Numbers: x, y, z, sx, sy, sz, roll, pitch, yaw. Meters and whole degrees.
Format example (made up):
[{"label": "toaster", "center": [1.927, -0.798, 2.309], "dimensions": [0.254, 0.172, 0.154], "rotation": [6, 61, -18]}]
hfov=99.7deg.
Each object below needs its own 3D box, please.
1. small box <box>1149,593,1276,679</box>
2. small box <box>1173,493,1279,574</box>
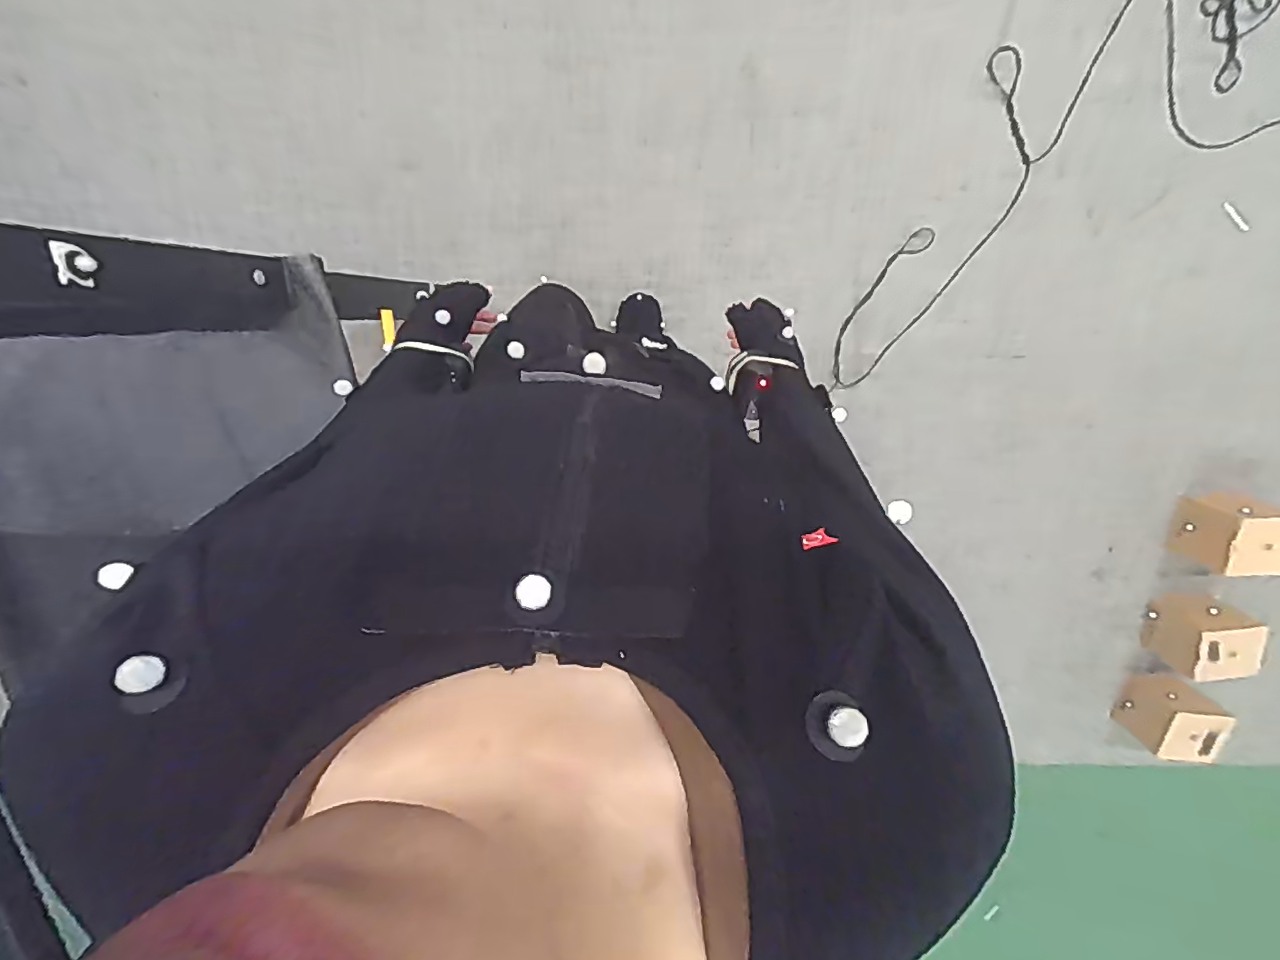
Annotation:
[{"label": "small box", "center": [1.614, 0.439, 1.538], "dimensions": [0.179, 0.176, 0.168], "rotation": [-7, 108, 2]}, {"label": "small box", "center": [1.601, 0.136, 1.442], "dimensions": [0.179, 0.176, 0.168], "rotation": [-3, 107, 3]}]
